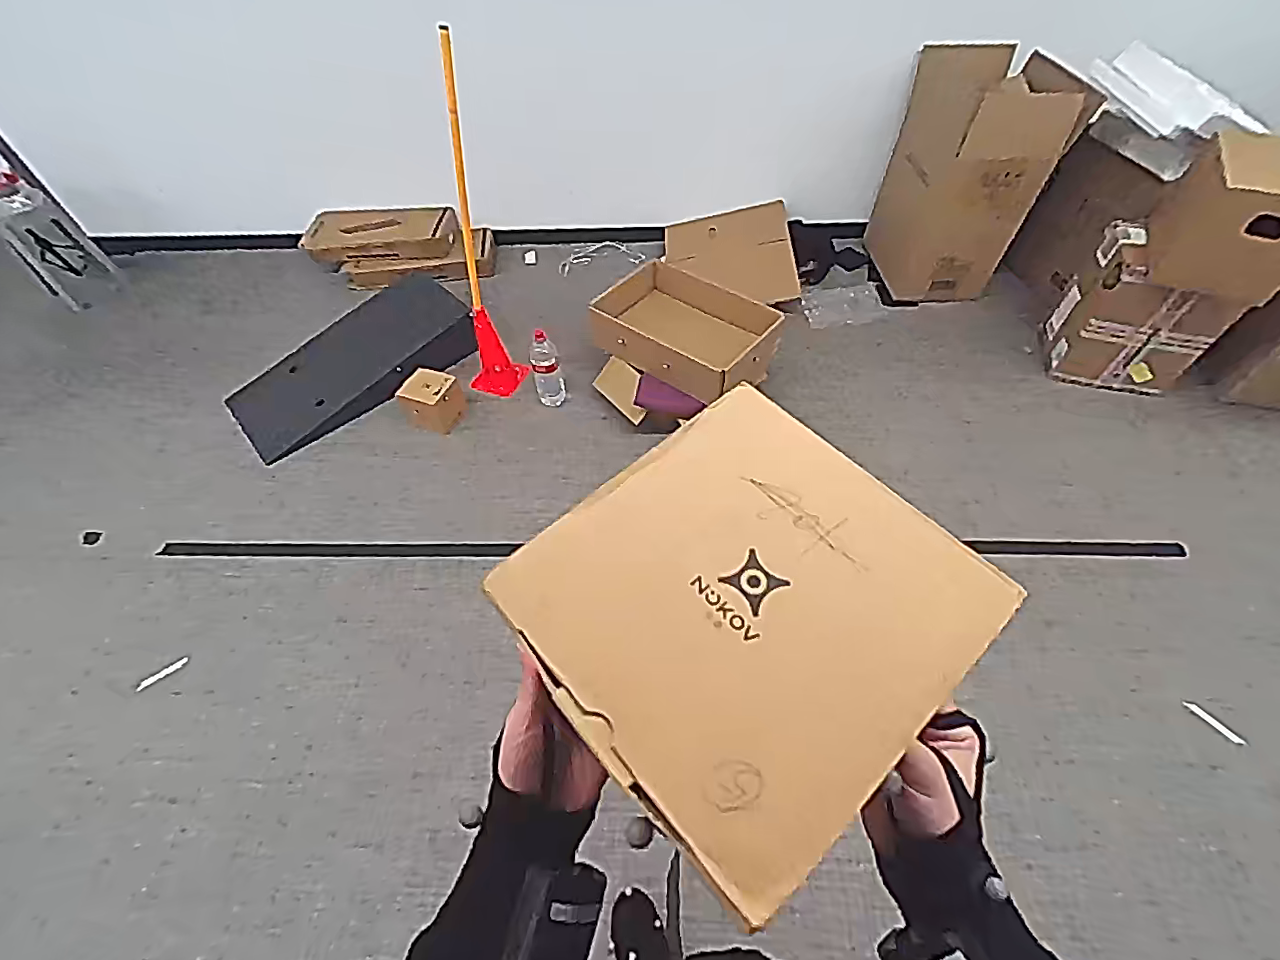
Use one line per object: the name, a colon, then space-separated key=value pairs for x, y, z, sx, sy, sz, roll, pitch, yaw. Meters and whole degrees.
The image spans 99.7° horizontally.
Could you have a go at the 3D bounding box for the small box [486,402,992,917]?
small box: x=0.046 y=0.097 z=0.315 sx=0.179 sy=0.176 sz=0.168 roll=-38 pitch=65 yaw=-20
